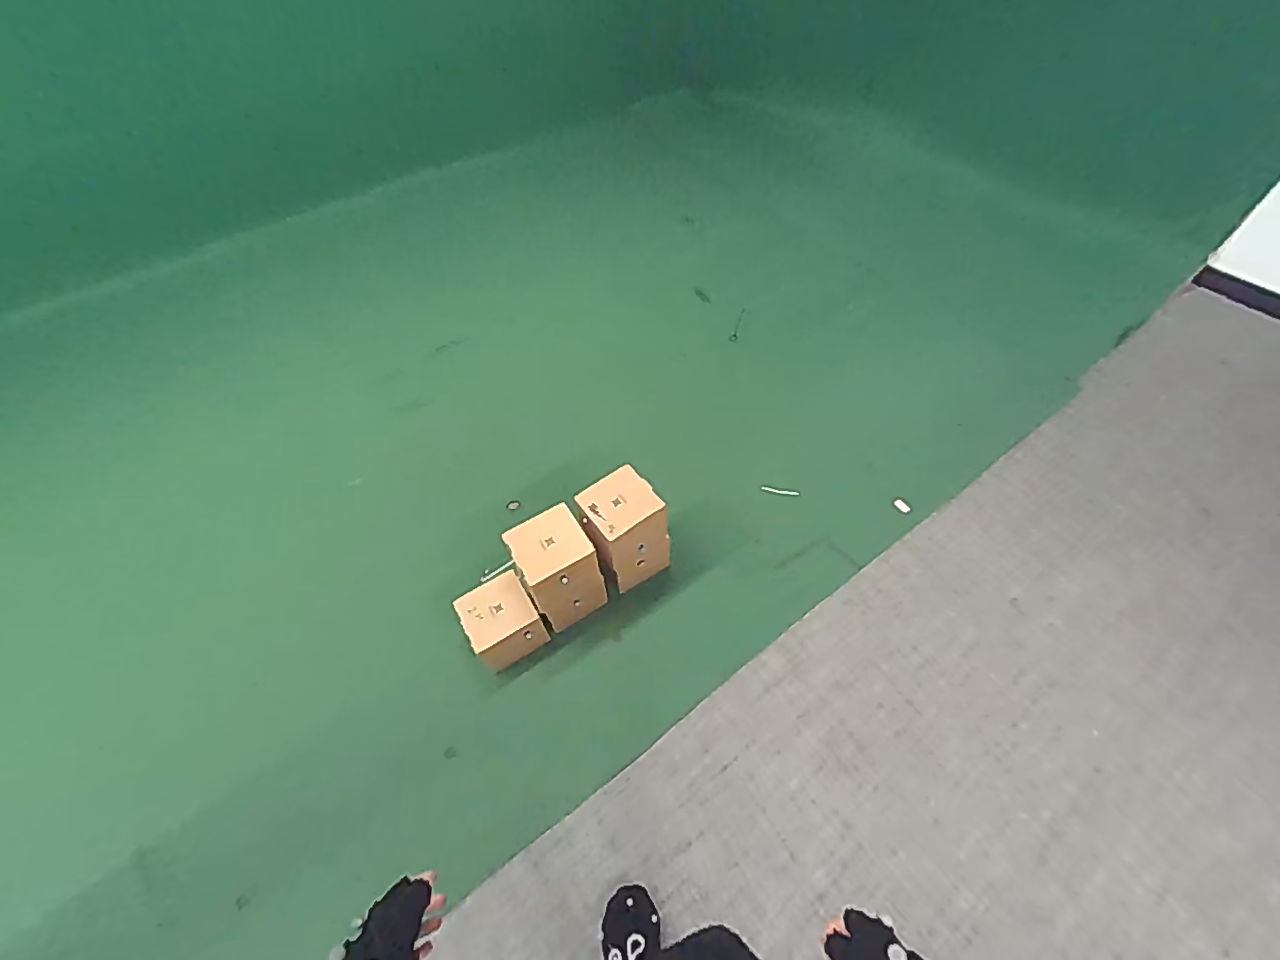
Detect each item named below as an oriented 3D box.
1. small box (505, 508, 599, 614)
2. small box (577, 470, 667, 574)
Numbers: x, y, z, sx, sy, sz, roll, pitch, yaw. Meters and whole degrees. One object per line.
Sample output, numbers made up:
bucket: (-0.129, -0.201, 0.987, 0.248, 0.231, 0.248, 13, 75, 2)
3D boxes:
small box: (-0.215, 0.207, 1.365, 0.179, 0.176, 0.168, -28, 59, -15)
small box: (-0.047, 0.112, 1.422, 0.179, 0.176, 0.168, -31, 58, -20)
